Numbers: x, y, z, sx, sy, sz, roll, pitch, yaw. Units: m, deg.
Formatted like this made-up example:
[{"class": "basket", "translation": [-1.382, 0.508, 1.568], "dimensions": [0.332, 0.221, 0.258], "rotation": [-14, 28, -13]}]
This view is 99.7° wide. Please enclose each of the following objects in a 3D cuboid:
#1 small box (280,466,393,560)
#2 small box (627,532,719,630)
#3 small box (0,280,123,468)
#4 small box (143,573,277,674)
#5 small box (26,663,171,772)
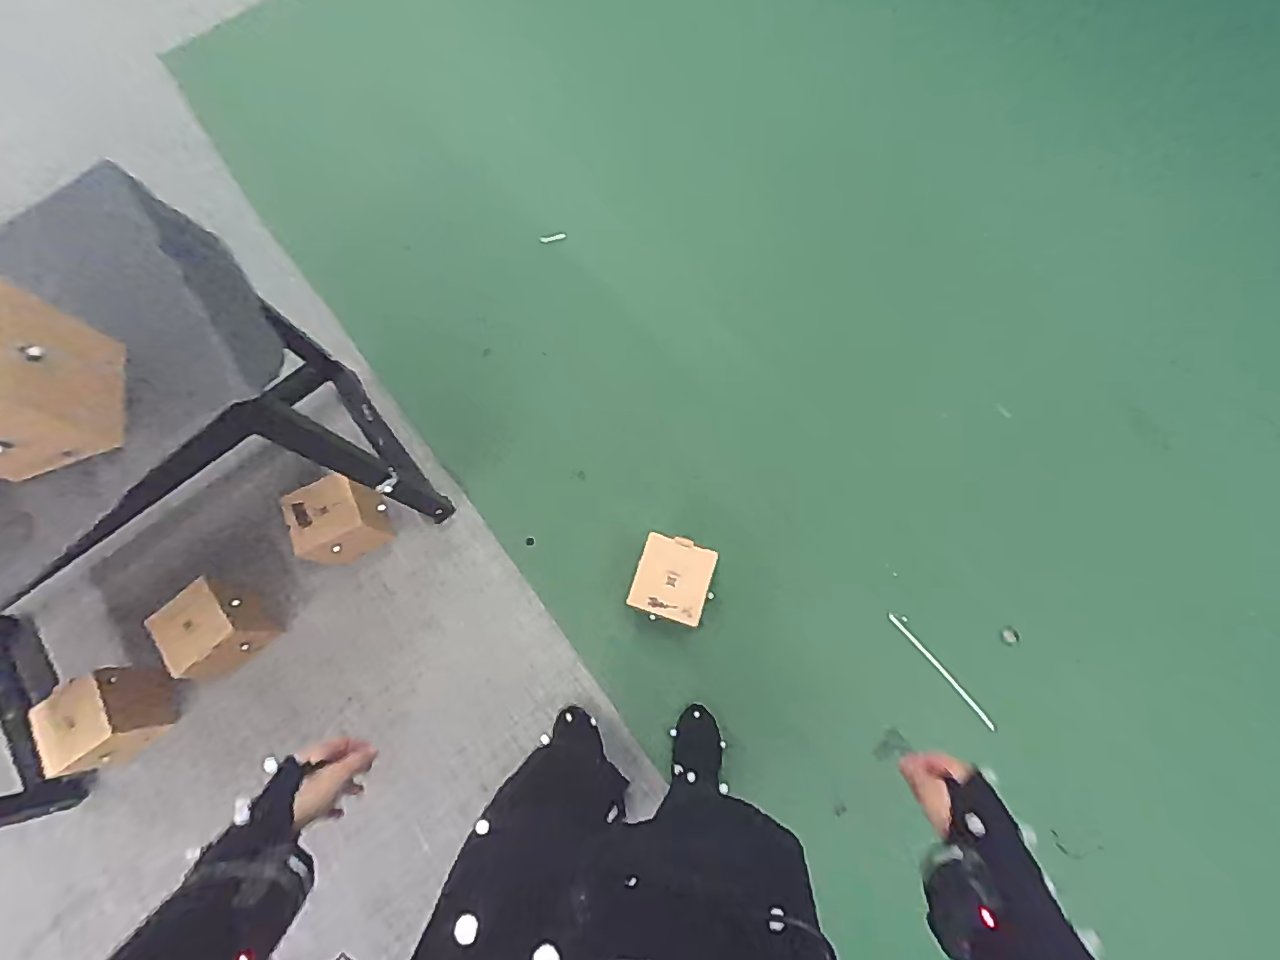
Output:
[{"class": "small box", "translation": [-0.779, 0.092, 1.400], "dimensions": [0.179, 0.176, 0.168], "rotation": [-26, 73, -4]}, {"class": "small box", "translation": [0.078, 0.244, 1.280], "dimensions": [0.168, 0.176, 0.179], "rotation": [18, 75, 10]}, {"class": "small box", "translation": [-0.832, -0.130, 0.704], "dimensions": [0.168, 0.176, 0.179], "rotation": [-18, 70, -1]}, {"class": "small box", "translation": [-1.059, 0.356, 1.347], "dimensions": [0.168, 0.176, 0.179], "rotation": [-41, 73, -8]}, {"class": "small box", "translation": [-1.299, 0.562, 1.309], "dimensions": [0.168, 0.176, 0.179], "rotation": [-34, 73, -5]}]
